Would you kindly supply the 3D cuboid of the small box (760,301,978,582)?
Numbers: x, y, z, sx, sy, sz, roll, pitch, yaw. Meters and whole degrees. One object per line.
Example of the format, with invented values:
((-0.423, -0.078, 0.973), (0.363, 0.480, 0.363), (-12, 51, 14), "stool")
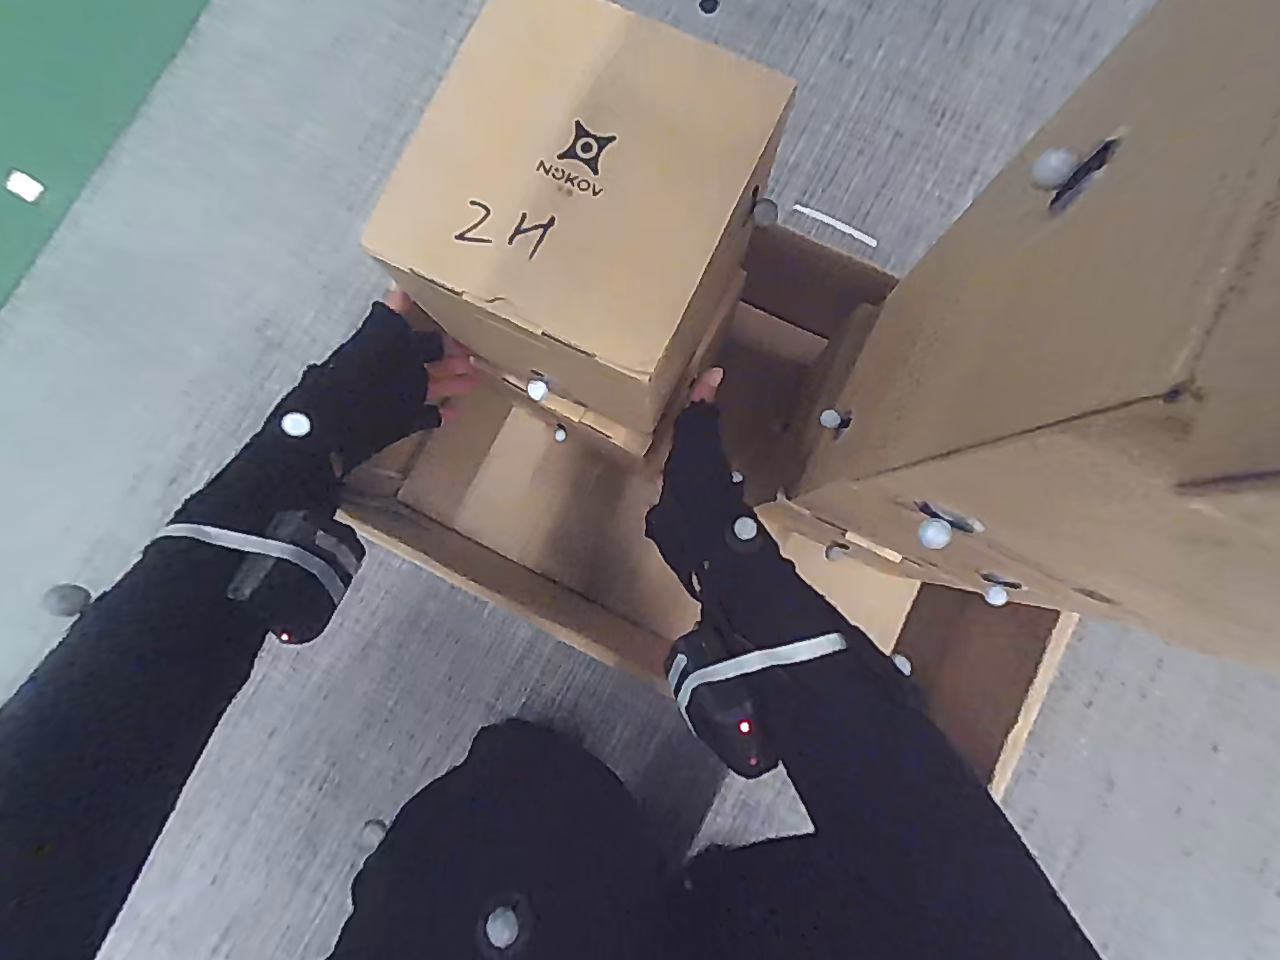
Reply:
((0.219, -0.025, 0.492), (0.168, 0.176, 0.179), (22, 86, 6), "small box")

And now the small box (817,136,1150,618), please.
((0.221, -0.037, 0.311), (0.168, 0.176, 0.179), (26, 87, 6), "small box")

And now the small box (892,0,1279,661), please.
((0.207, -0.045, 0.165), (0.168, 0.176, 0.179), (27, 87, 5), "small box")
